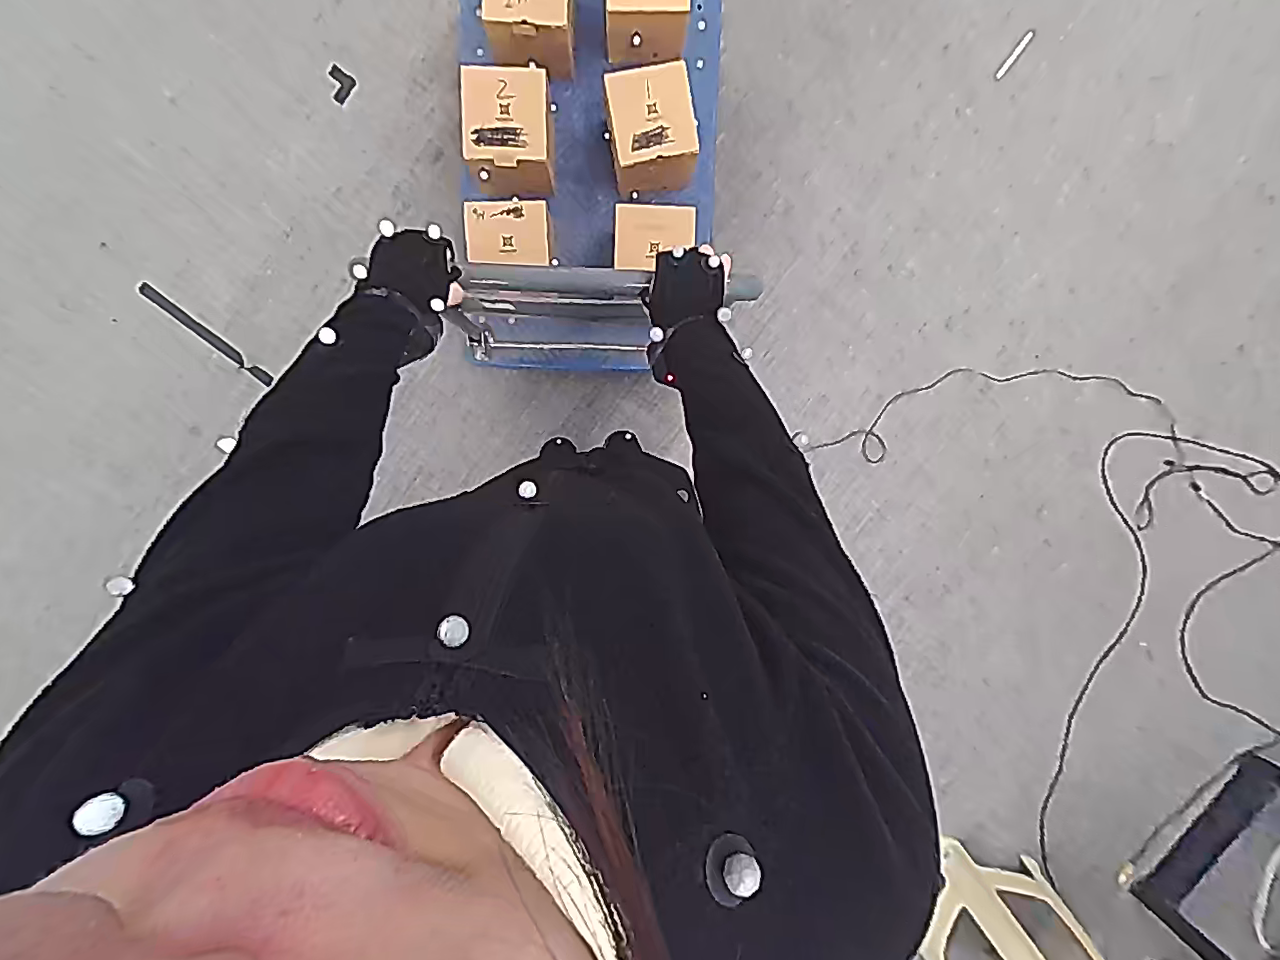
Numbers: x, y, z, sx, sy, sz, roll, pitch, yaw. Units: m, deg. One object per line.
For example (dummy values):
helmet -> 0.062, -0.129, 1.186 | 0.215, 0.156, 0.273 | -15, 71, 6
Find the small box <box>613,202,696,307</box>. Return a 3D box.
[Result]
small box -> 0.026, -0.484, 1.185 | 0.168, 0.176, 0.179 | 1, 96, -3

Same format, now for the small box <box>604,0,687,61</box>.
small box -> 0.008, -1.010, 1.122 | 0.168, 0.176, 0.179 | -2, 97, -2

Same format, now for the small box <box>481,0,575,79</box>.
small box -> -0.225, -0.978, 1.114 | 0.168, 0.176, 0.179 | 3, 98, -3

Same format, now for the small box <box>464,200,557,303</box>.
small box -> -0.272, -0.484, 1.170 | 0.168, 0.176, 0.179 | -2, 97, -3
